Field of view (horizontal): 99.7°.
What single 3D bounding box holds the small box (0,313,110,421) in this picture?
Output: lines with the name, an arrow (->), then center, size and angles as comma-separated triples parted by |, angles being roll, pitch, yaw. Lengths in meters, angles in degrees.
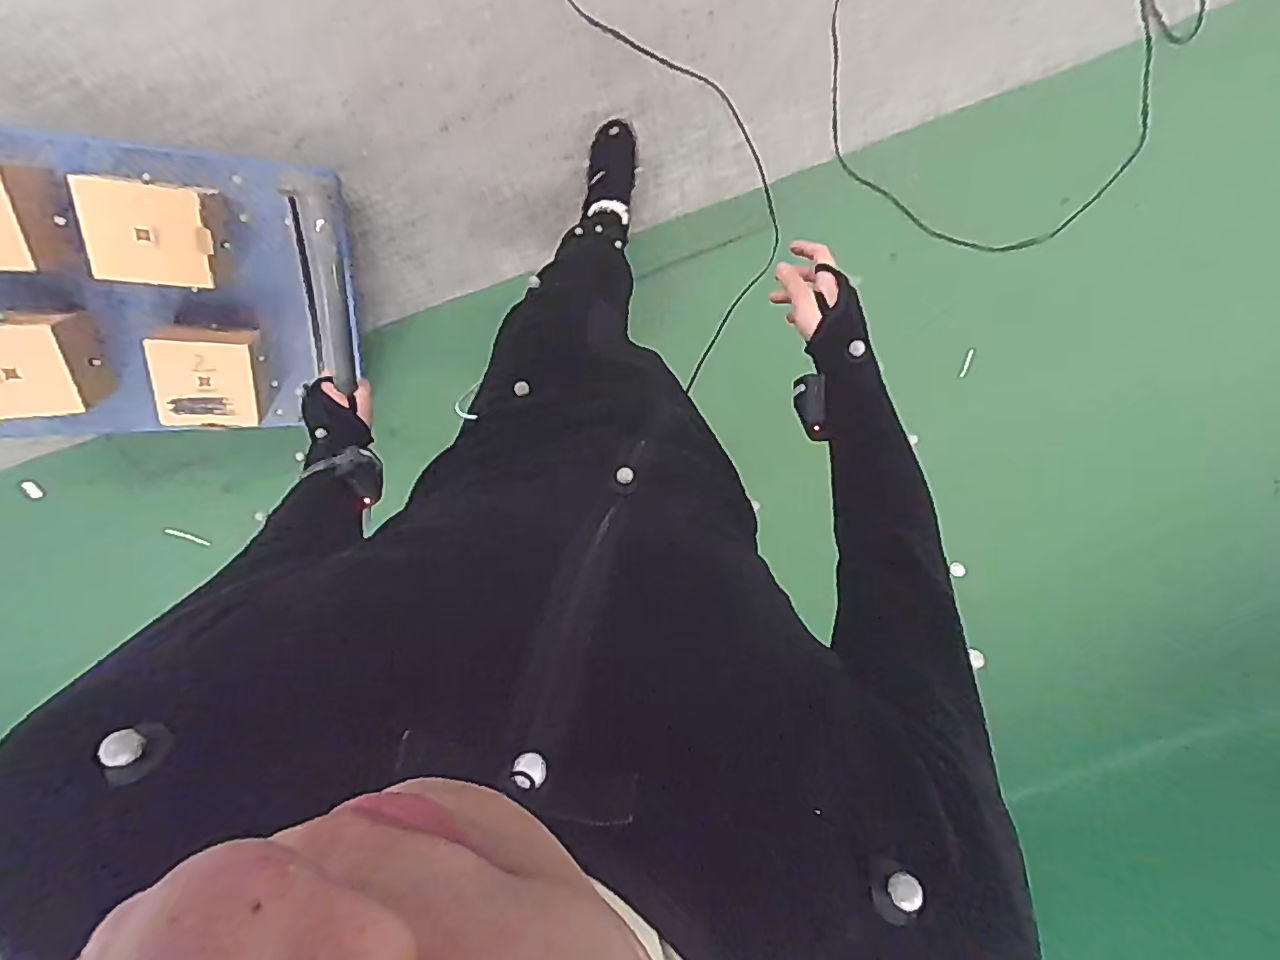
small box -> -1.153, -0.218, 1.018 | 0.179, 0.176, 0.168 | -9, 118, -22

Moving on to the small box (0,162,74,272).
small box -> -1.129, -0.448, 0.910 | 0.179, 0.176, 0.168 | -7, 119, -23

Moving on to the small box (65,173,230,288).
small box -> -0.904, -0.463, 1.013 | 0.179, 0.176, 0.168 | -4, 117, -25
